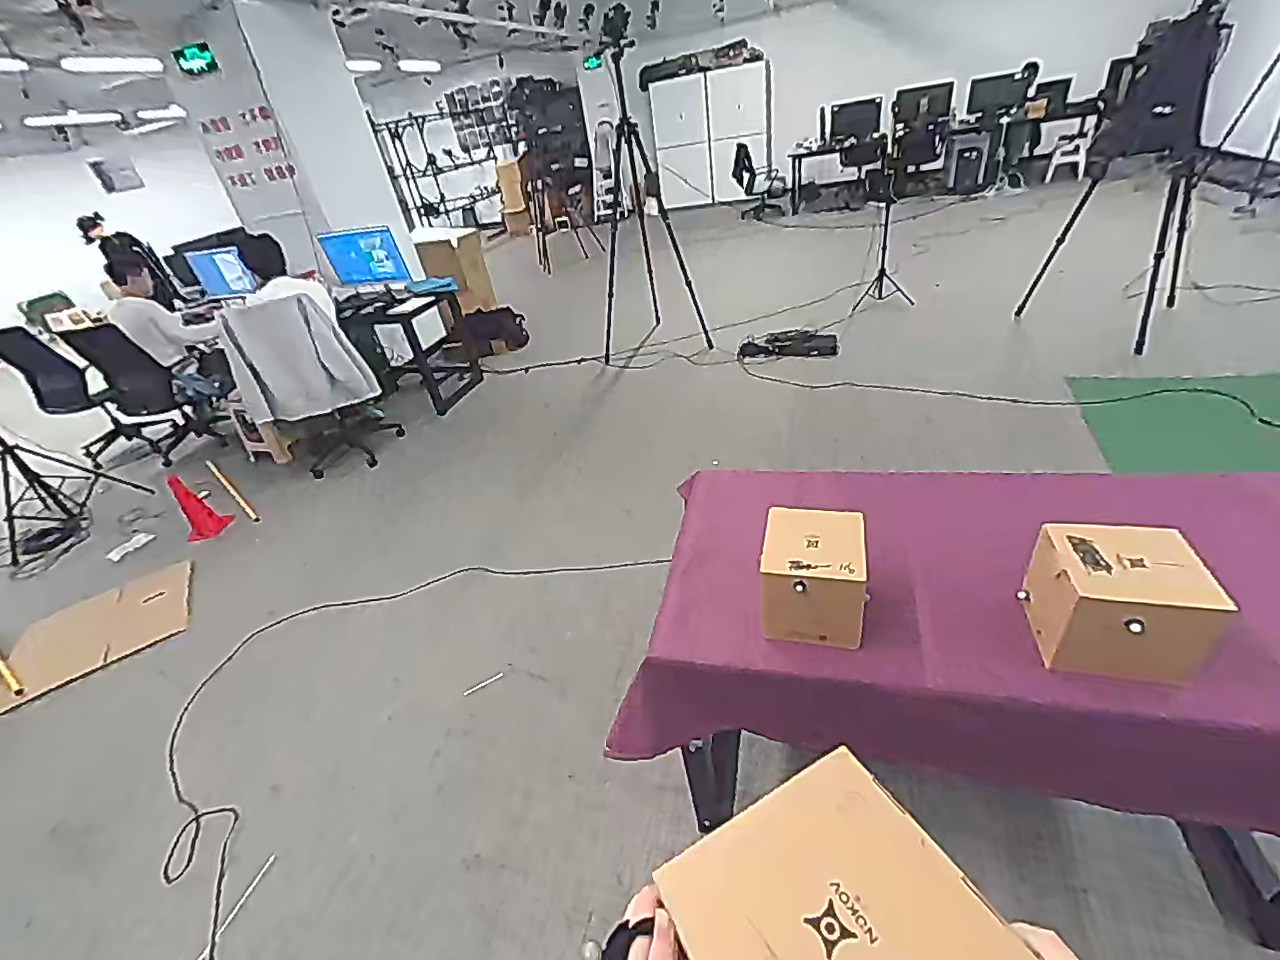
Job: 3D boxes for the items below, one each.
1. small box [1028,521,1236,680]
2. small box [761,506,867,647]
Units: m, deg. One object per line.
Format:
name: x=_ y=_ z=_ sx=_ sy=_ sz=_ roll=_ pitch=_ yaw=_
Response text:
small box: x=0.724 y=0.182 z=0.828 sx=0.179 sy=0.176 sz=0.168 roll=2 pitch=37 yaw=18
small box: x=0.312 y=0.168 z=0.970 sx=0.168 sy=0.176 sz=0.179 roll=2 pitch=35 yaw=20
